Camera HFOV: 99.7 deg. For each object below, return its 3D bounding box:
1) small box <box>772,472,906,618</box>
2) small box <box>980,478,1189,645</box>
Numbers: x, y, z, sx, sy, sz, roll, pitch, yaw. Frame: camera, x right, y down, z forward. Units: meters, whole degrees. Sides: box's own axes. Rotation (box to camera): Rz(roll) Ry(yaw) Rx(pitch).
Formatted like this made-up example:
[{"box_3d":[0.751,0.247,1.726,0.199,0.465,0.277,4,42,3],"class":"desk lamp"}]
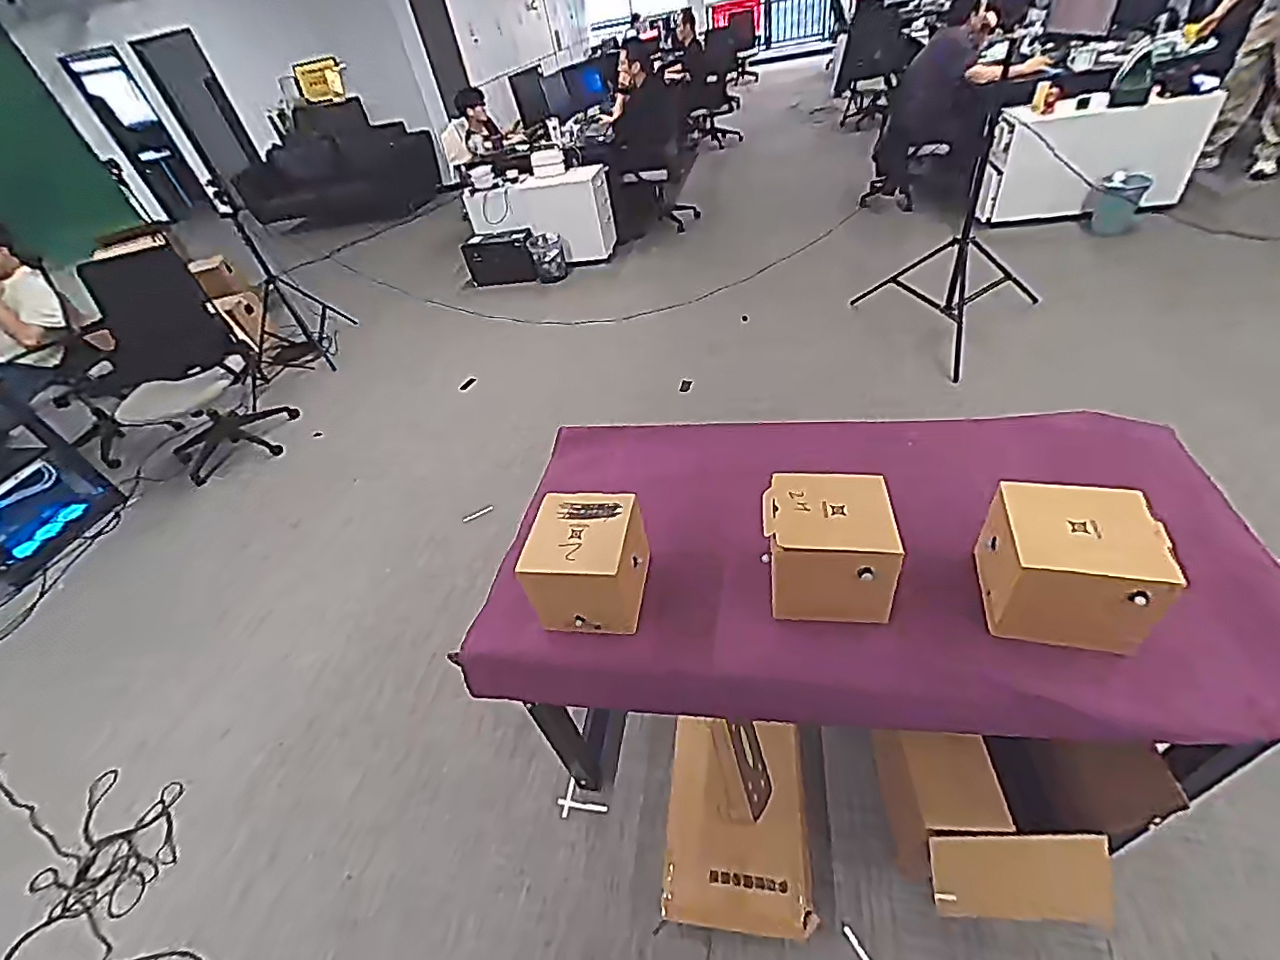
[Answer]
[{"box_3d":[0.304,0.105,0.864,0.179,0.176,0.168,-1,40,13],"class":"small box"},{"box_3d":[0.610,0.117,0.778,0.179,0.176,0.168,4,44,18],"class":"small box"}]
